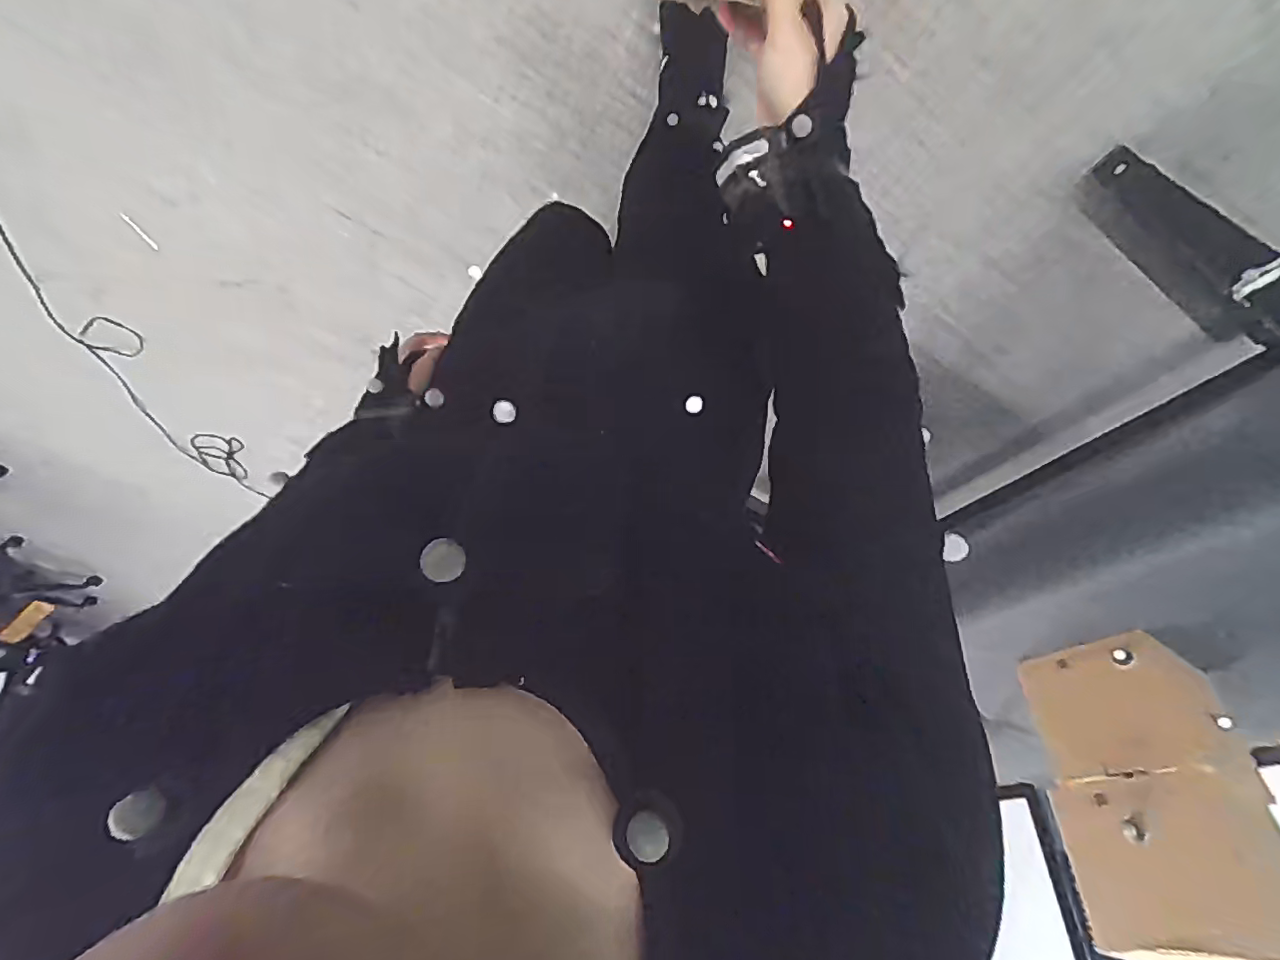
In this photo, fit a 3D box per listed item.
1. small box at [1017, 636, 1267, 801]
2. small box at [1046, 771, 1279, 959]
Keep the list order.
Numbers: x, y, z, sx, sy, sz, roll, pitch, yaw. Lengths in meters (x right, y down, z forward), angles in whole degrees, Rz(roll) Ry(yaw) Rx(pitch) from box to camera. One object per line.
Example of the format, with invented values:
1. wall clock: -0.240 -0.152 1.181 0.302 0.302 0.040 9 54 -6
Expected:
1. small box: 0.663 0.331 0.738 0.179 0.176 0.168 28 136 -20
2. small box: 0.640 0.463 0.641 0.179 0.176 0.168 27 135 -18
